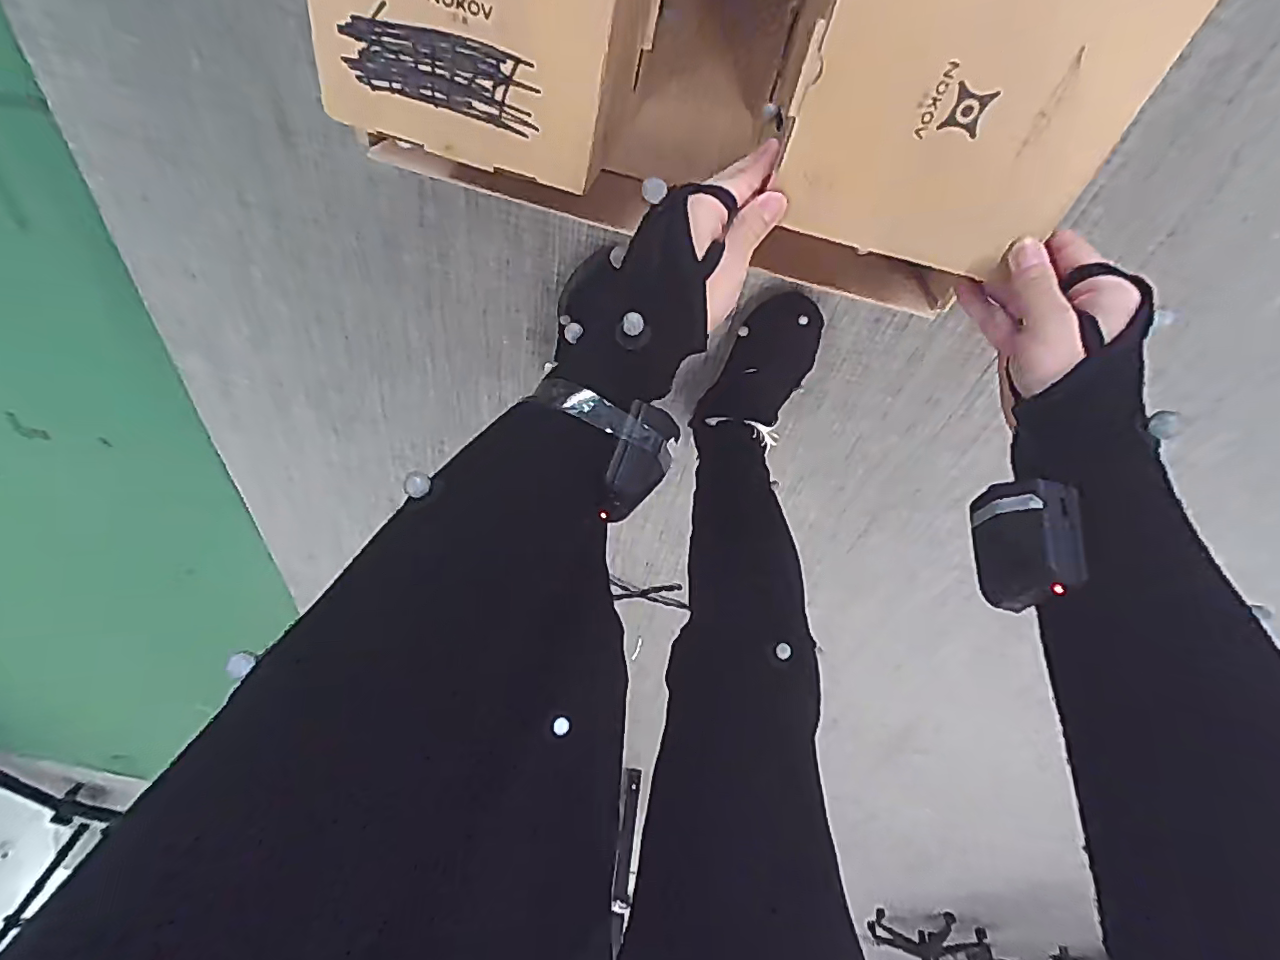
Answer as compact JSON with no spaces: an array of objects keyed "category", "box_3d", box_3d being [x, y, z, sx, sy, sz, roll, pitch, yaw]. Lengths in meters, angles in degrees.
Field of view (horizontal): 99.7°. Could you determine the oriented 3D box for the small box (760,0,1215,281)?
[{"category":"small box","box_3d":[0.188,-0.259,0.350,0.179,0.176,0.168,14,135,-1]}]
